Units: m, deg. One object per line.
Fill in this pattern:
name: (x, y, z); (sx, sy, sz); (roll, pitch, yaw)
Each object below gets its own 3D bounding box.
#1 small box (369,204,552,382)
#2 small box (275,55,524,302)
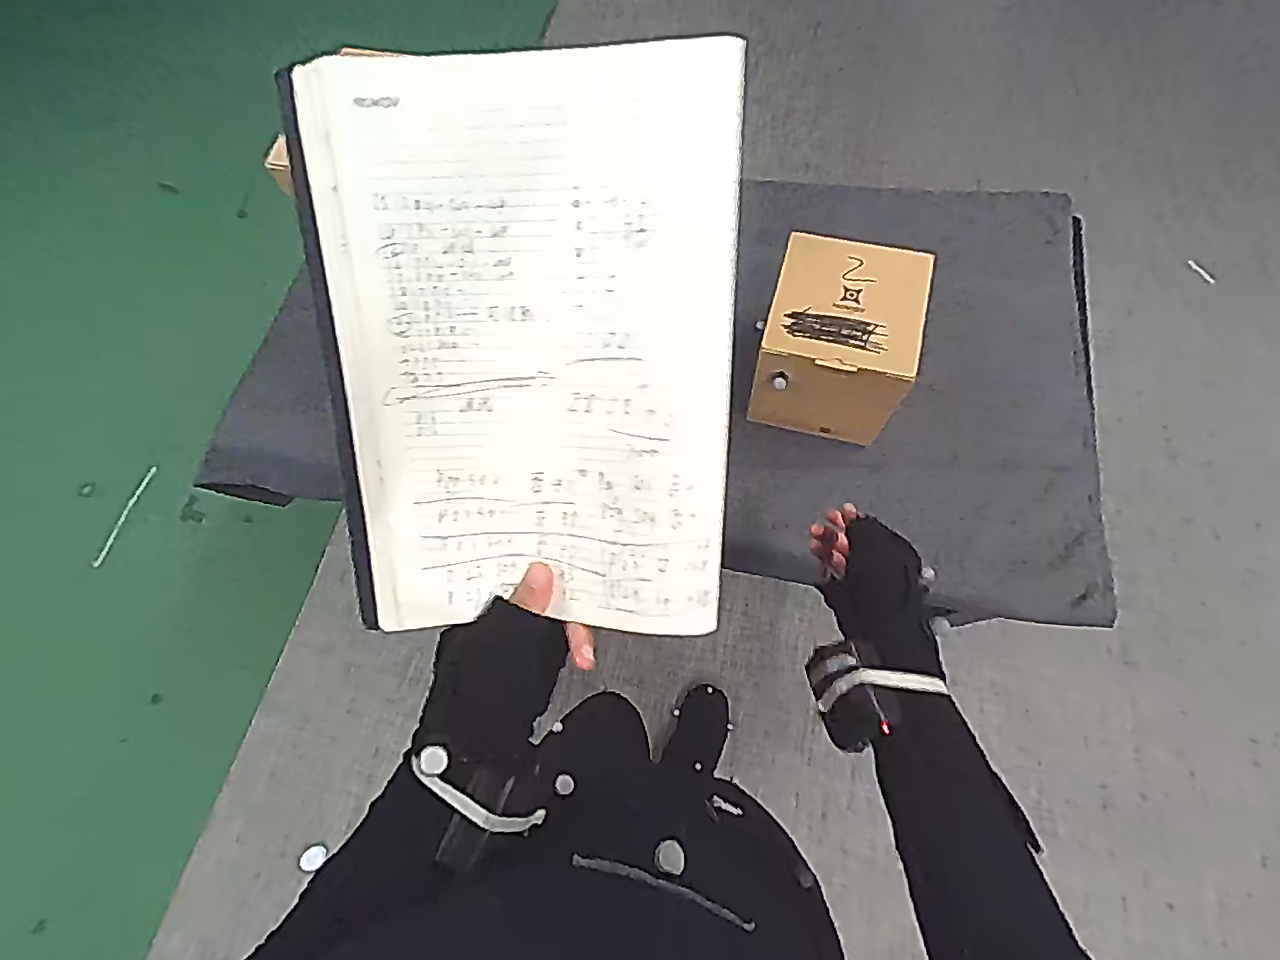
small box: (-0.234, -0.266, 0.761); (0.168, 0.176, 0.179); (11, 70, 9)
small box: (-0.248, -0.330, 0.610); (0.168, 0.176, 0.179); (13, 69, 9)
